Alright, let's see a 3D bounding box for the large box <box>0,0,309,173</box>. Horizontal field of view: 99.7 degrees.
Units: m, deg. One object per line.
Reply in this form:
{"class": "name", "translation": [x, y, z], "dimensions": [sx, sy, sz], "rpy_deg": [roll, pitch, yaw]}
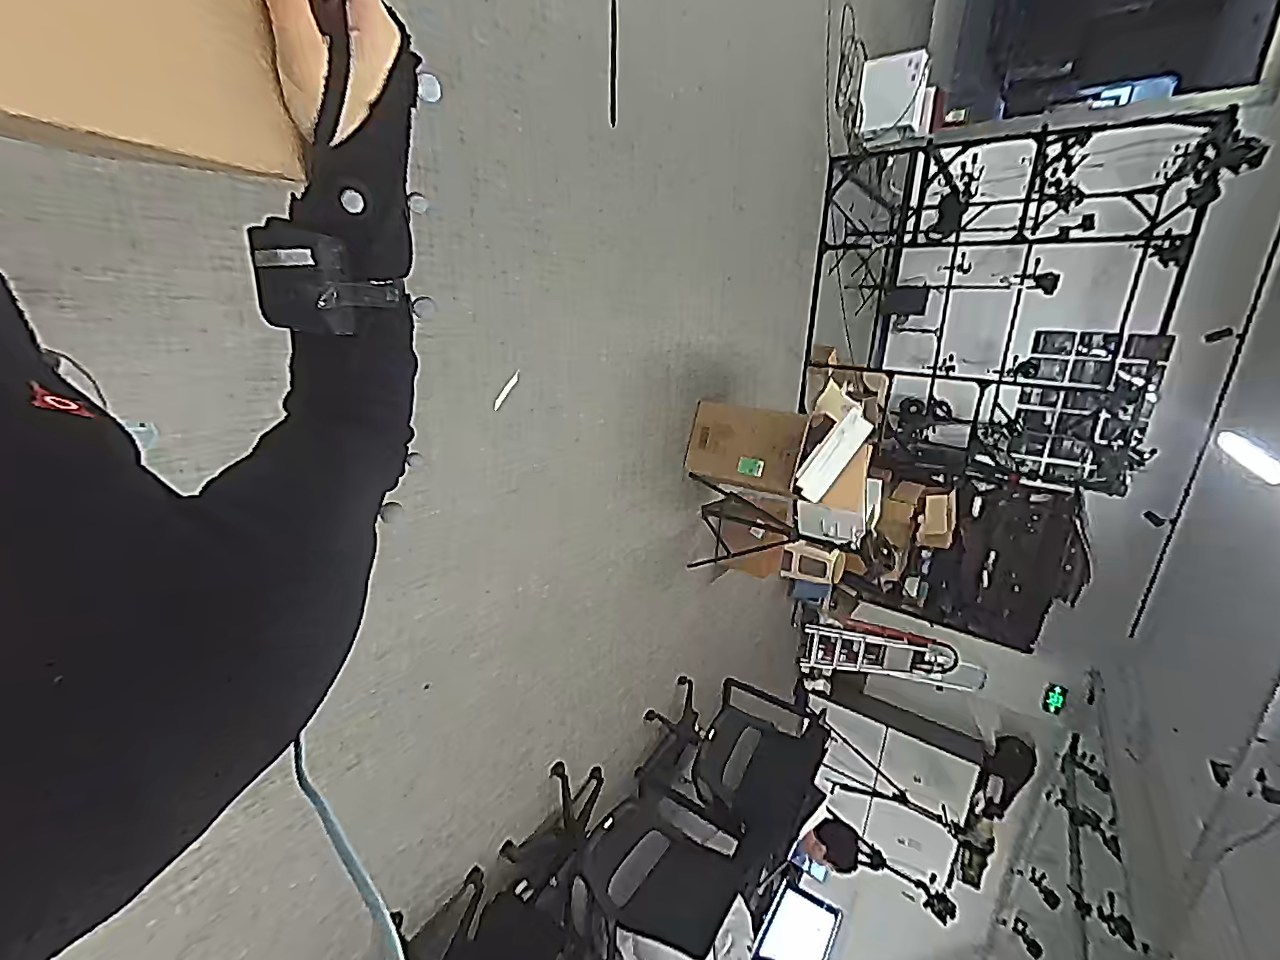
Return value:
{"class": "large box", "translation": [-0.408, -0.325, 0.181], "dimensions": [0.408, 0.320, 0.320], "rpy_deg": [-22, 129, -54]}
